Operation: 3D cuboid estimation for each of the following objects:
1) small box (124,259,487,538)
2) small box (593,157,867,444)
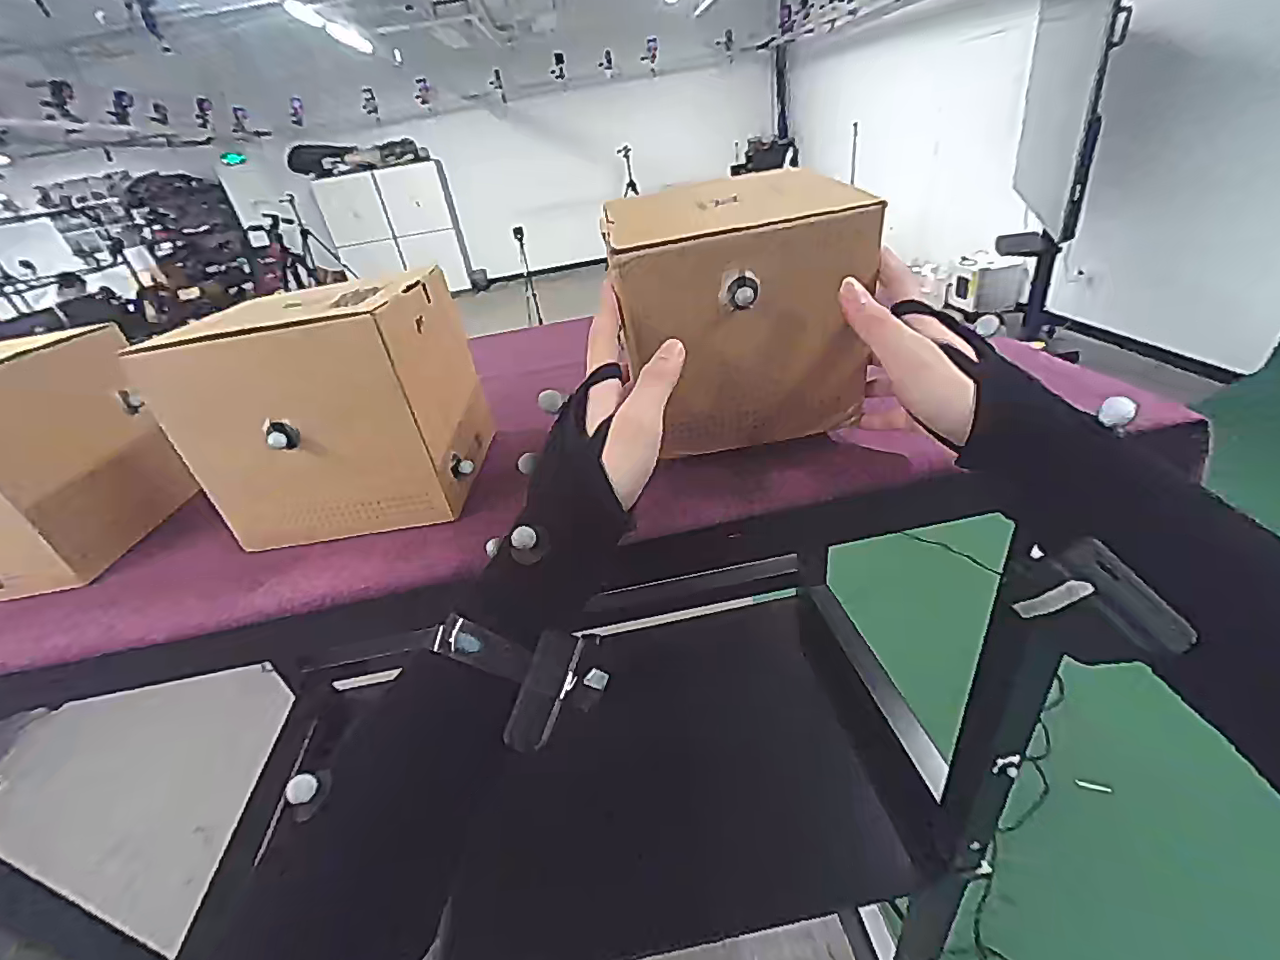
[{"bbox_3d":[-0.248,-0.072,0.462,0.179,0.176,0.168,-10,32,3],"label":"small box"},{"bbox_3d":[0.065,-0.145,0.445,0.179,0.176,0.168,-9,38,3],"label":"small box"}]
